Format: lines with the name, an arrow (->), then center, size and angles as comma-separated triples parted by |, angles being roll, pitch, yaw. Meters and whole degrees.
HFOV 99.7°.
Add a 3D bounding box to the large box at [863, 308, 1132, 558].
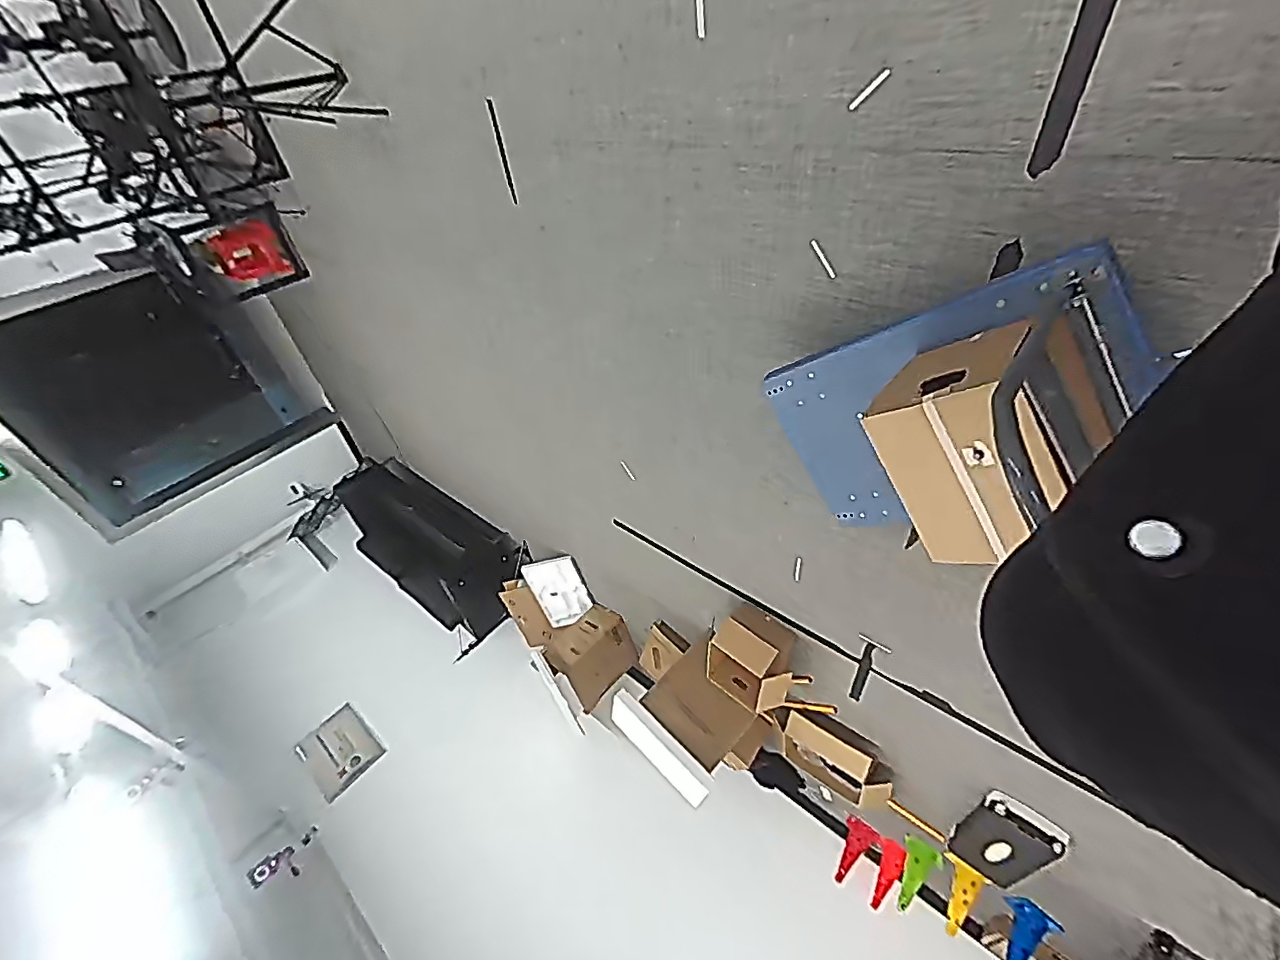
large box -> 0.770, -0.084, 1.165 | 0.320, 0.320, 0.408 | -15, 111, 56
